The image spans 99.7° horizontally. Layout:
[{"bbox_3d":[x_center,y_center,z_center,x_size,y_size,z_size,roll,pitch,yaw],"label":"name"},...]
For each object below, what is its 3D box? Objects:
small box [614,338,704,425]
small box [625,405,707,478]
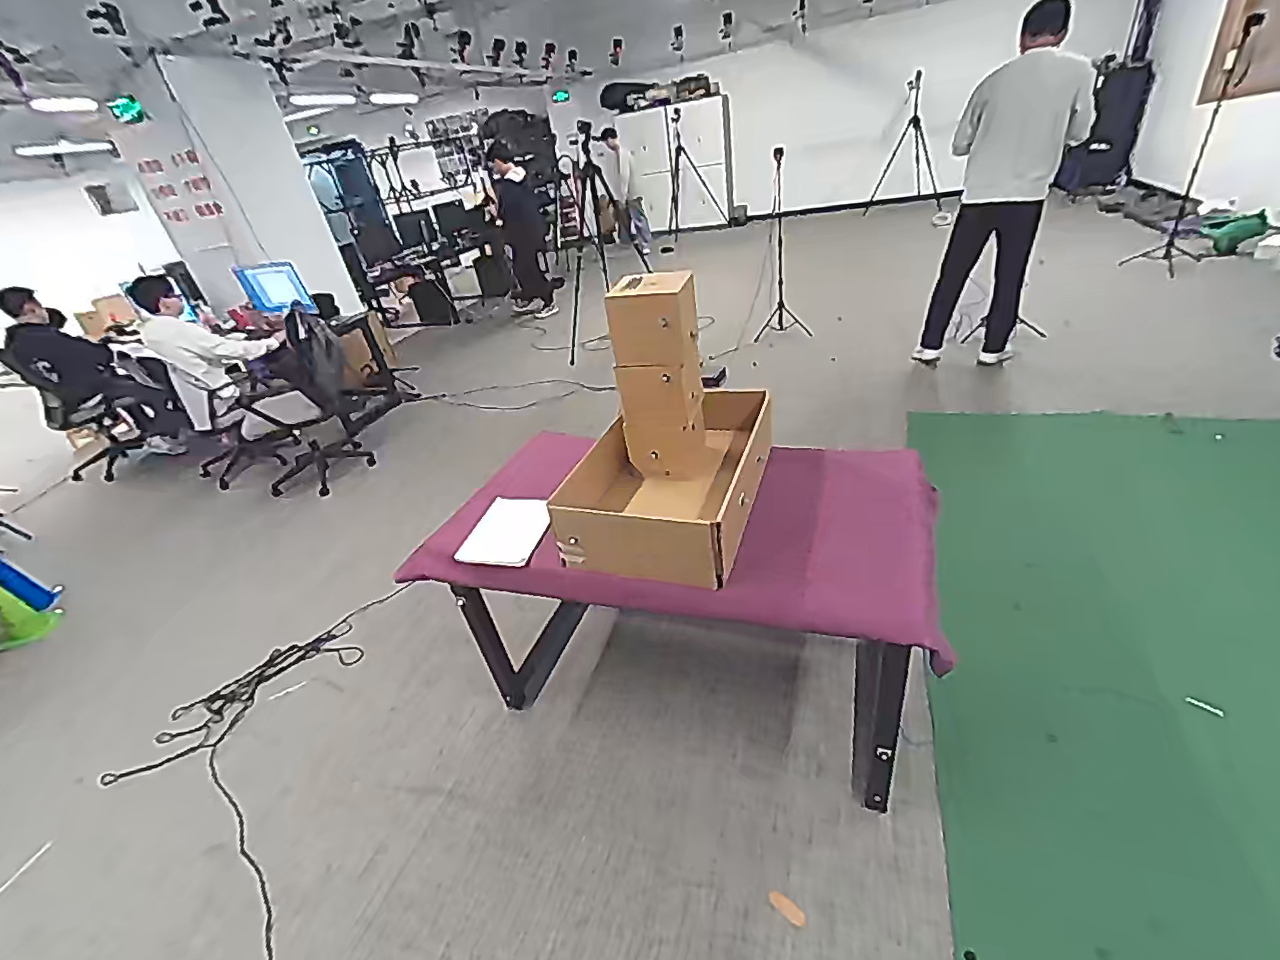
[{"bbox_3d":[0.055,-0.250,1.382,0.179,0.176,0.168,3,37,21],"label":"small box"},{"bbox_3d":[0.078,-0.120,1.475,0.168,0.176,0.179,5,37,23],"label":"small box"}]
